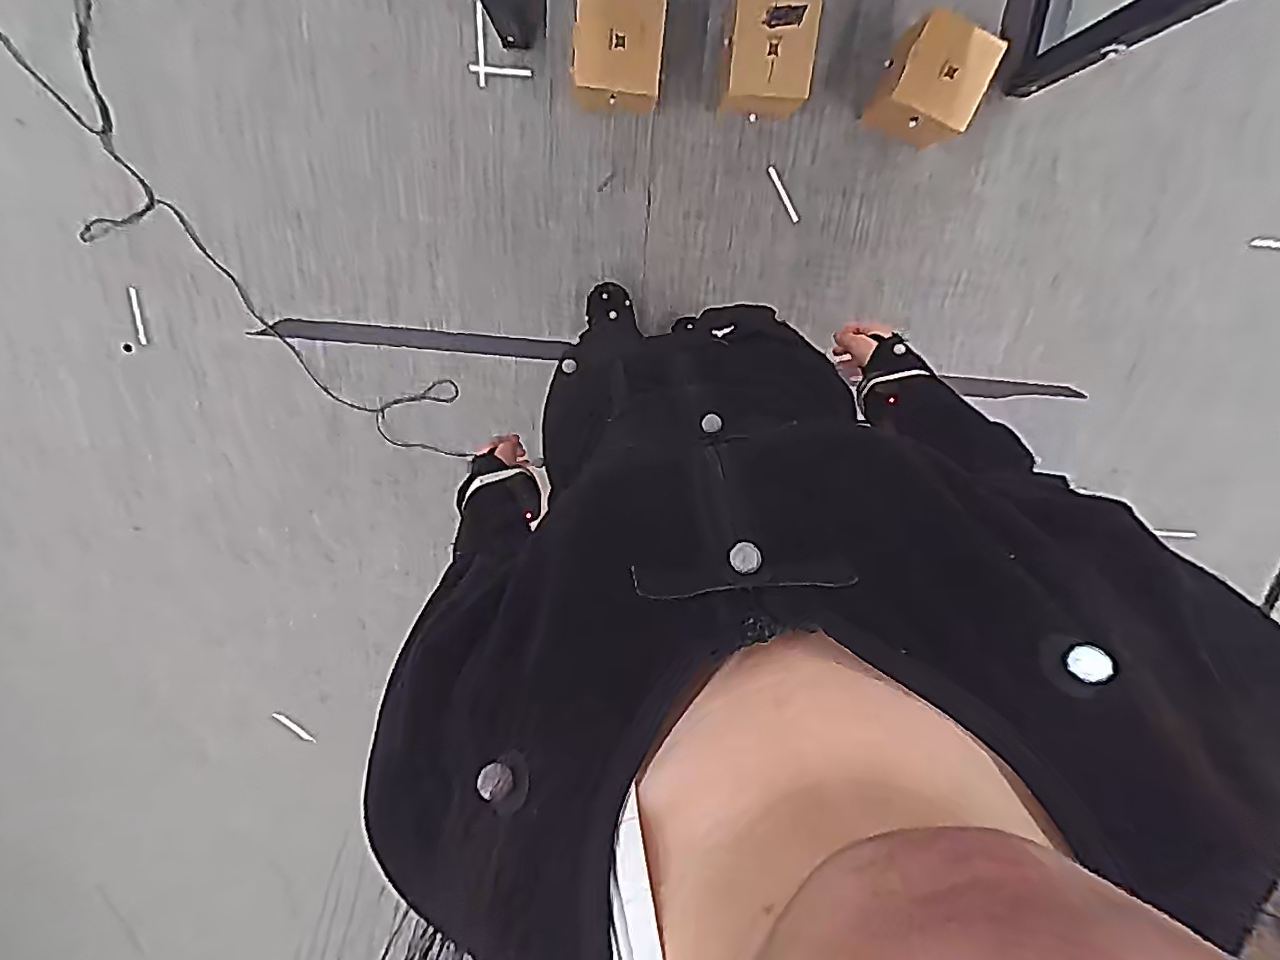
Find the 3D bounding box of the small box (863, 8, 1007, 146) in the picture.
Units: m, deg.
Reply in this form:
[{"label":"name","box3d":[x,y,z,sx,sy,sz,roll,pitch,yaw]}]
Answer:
[{"label":"small box","box3d":[0.617,-0.844,1.156,0.179,0.176,0.168,20,109,-7]}]

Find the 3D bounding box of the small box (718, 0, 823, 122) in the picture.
[{"label":"small box","box3d":[0.264,-0.880,1.134,0.168,0.176,0.179,3,111,-2]}]
